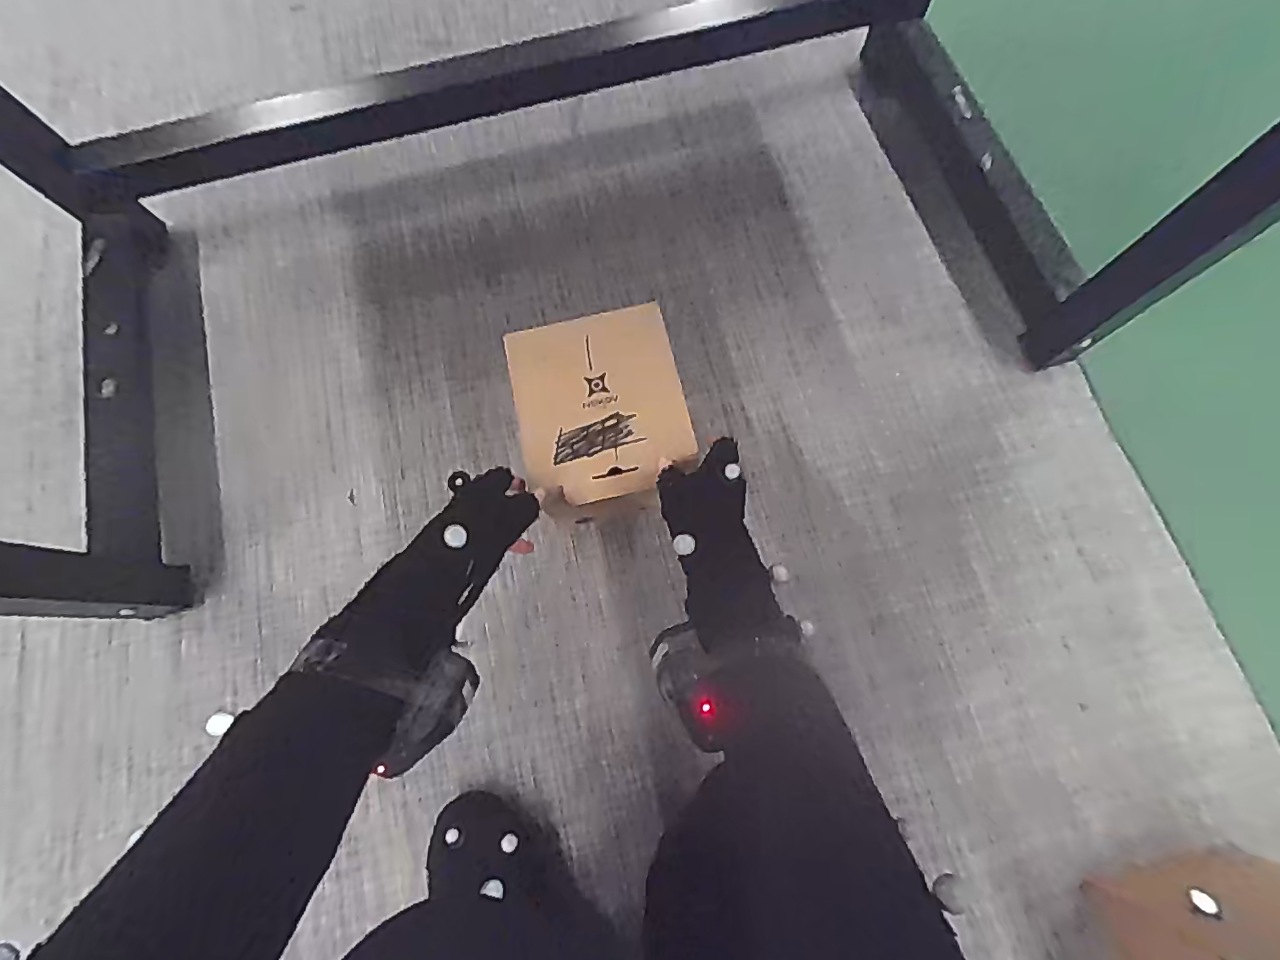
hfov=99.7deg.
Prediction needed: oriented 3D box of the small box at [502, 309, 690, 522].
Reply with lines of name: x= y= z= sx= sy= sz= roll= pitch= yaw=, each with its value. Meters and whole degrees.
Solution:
small box: x=-0.042 y=-0.058 z=0.610 sx=0.168 sy=0.176 sz=0.179 roll=-12 pitch=72 yaw=-1
